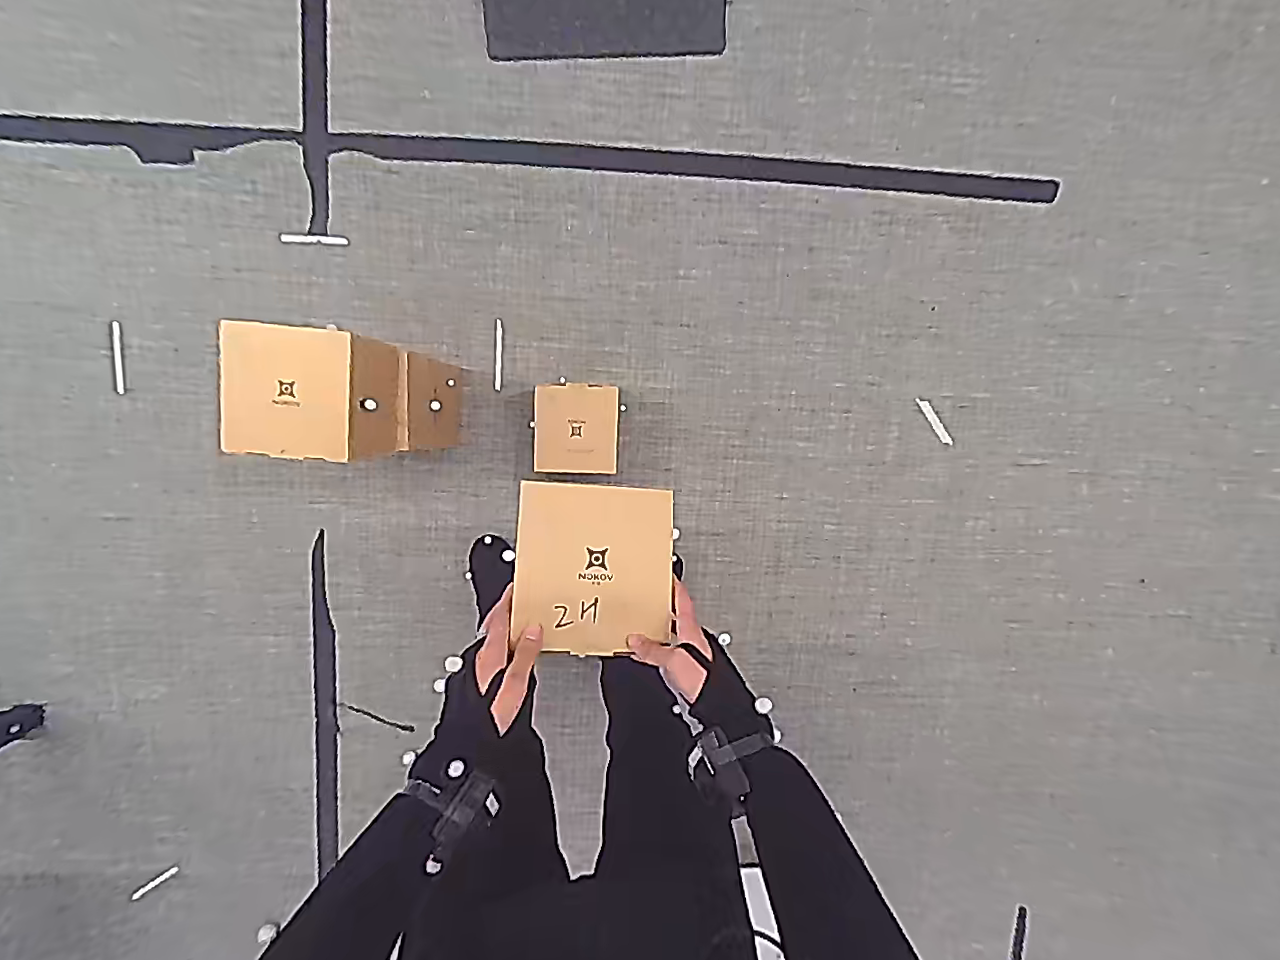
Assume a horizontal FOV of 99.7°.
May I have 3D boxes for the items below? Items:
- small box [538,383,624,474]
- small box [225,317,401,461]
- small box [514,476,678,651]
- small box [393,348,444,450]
[{"bbox_3d":[-0.120,-0.111,1.138,0.168,0.176,0.179,1,99,-1],"label":"small box"},{"bbox_3d":[-0.462,-0.128,0.787,0.168,0.176,0.179,5,98,-4],"label":"small box"},{"bbox_3d":[-0.055,0.100,0.635,0.168,0.176,0.179,3,79,-9],"label":"small box"},{"bbox_3d":[-0.460,-0.143,0.949,0.179,0.176,0.168,3,97,-4],"label":"small box"}]
